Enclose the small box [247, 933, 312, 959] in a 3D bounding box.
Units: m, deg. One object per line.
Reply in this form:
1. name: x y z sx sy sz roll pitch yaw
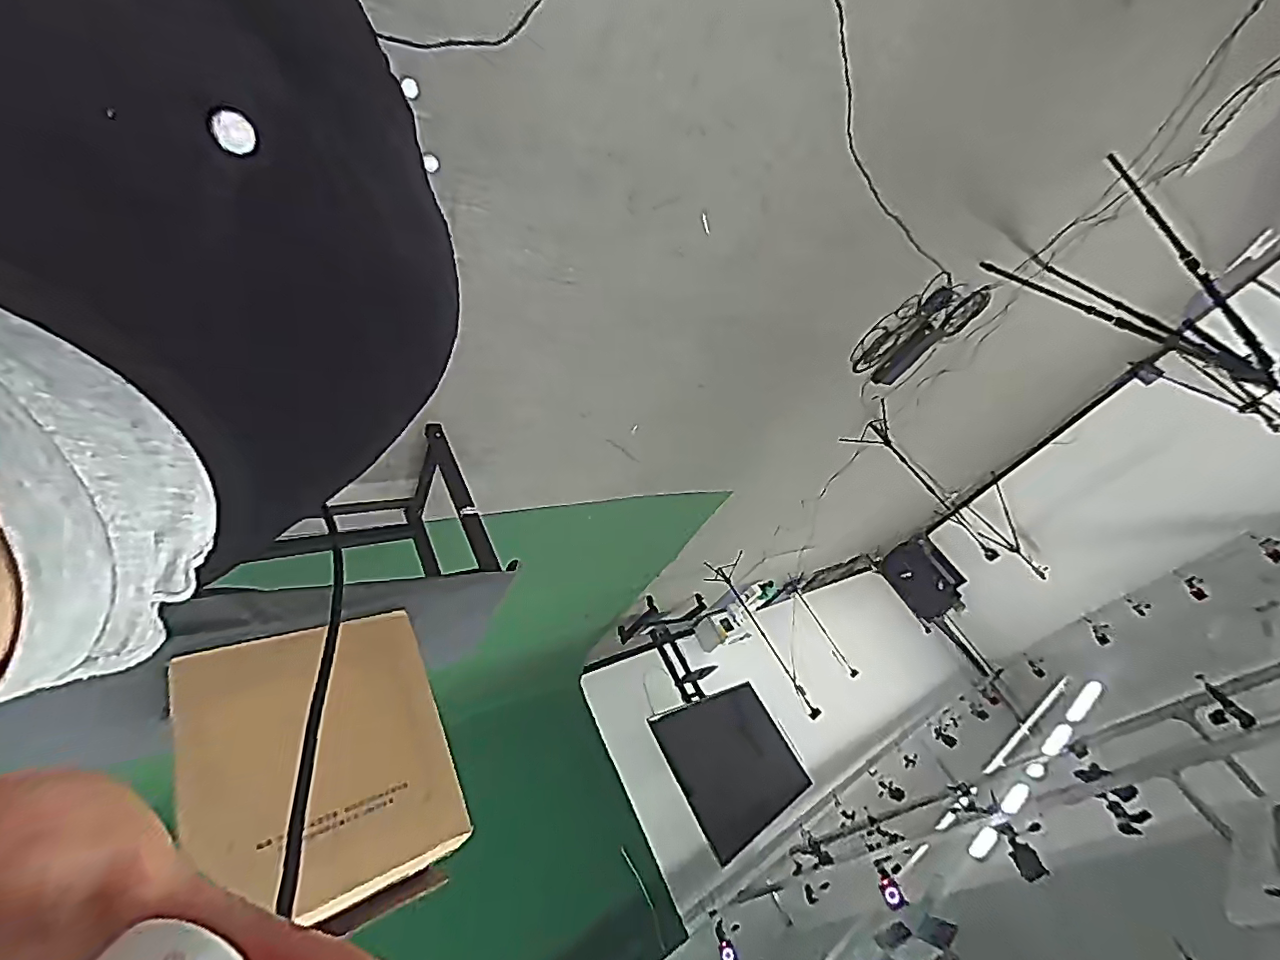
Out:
1. small box: -0.718 1.008 1.025 0.168 0.176 0.179 -6 142 -41
